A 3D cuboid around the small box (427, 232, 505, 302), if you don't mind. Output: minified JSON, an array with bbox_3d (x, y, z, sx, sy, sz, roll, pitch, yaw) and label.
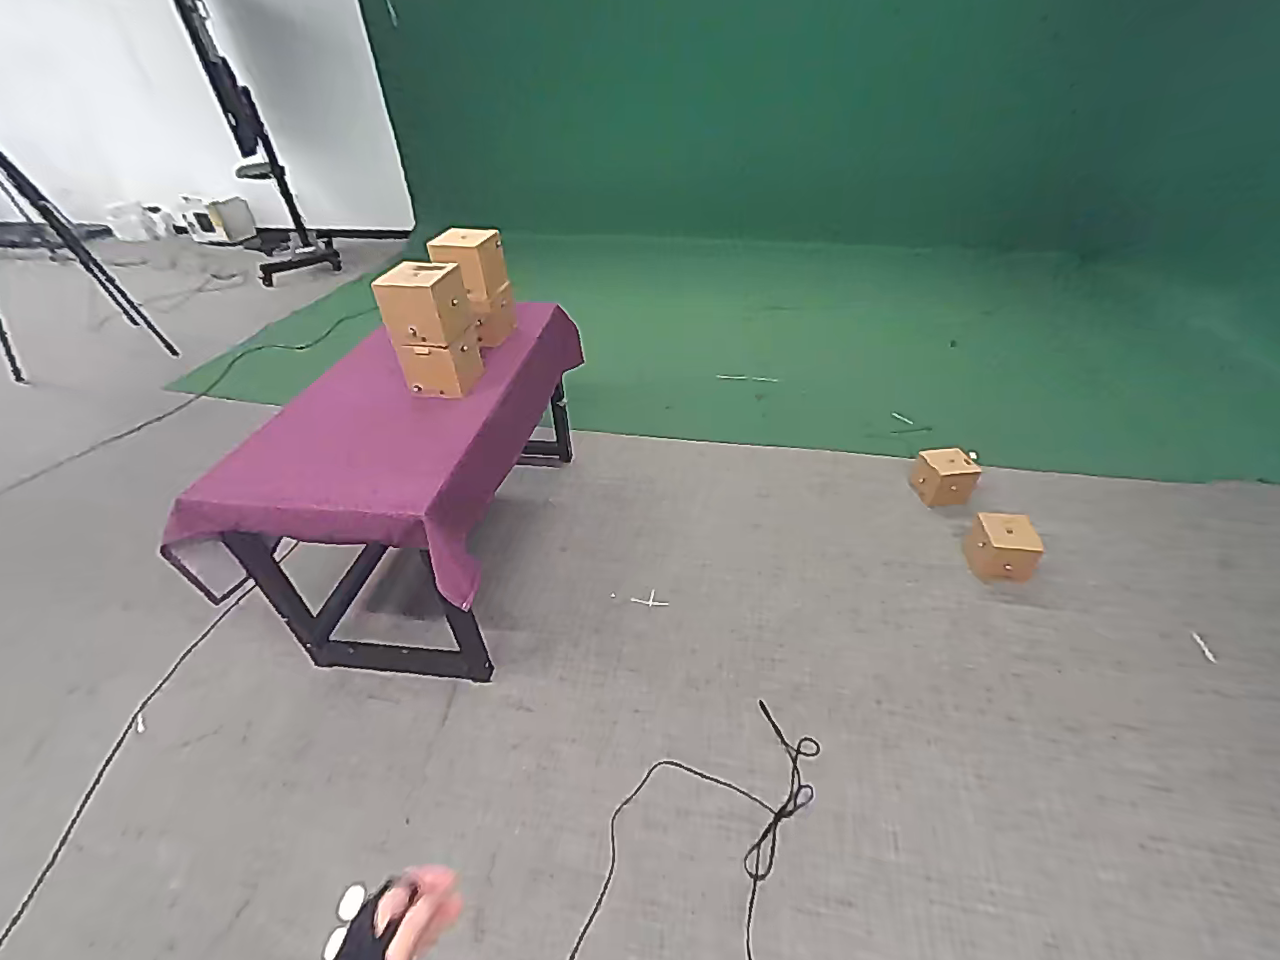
[{"bbox_3d":[-0.550,-0.687,1.744,0.168,0.176,0.179,6,40,9],"label":"small box"}]

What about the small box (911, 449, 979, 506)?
[{"bbox_3d":[1.249,-0.006,2.238,0.179,0.176,0.168,-6,39,-5],"label":"small box"}]

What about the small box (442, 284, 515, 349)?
[{"bbox_3d":[-0.541,-0.561,1.847,0.168,0.176,0.179,8,40,11],"label":"small box"}]

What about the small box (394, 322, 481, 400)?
[{"bbox_3d":[-0.584,-0.349,1.588,0.168,0.176,0.179,4,39,7],"label":"small box"}]

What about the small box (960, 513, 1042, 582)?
[{"bbox_3d":[1.279,0.244,1.928,0.168,0.176,0.179,5,40,7],"label":"small box"}]
